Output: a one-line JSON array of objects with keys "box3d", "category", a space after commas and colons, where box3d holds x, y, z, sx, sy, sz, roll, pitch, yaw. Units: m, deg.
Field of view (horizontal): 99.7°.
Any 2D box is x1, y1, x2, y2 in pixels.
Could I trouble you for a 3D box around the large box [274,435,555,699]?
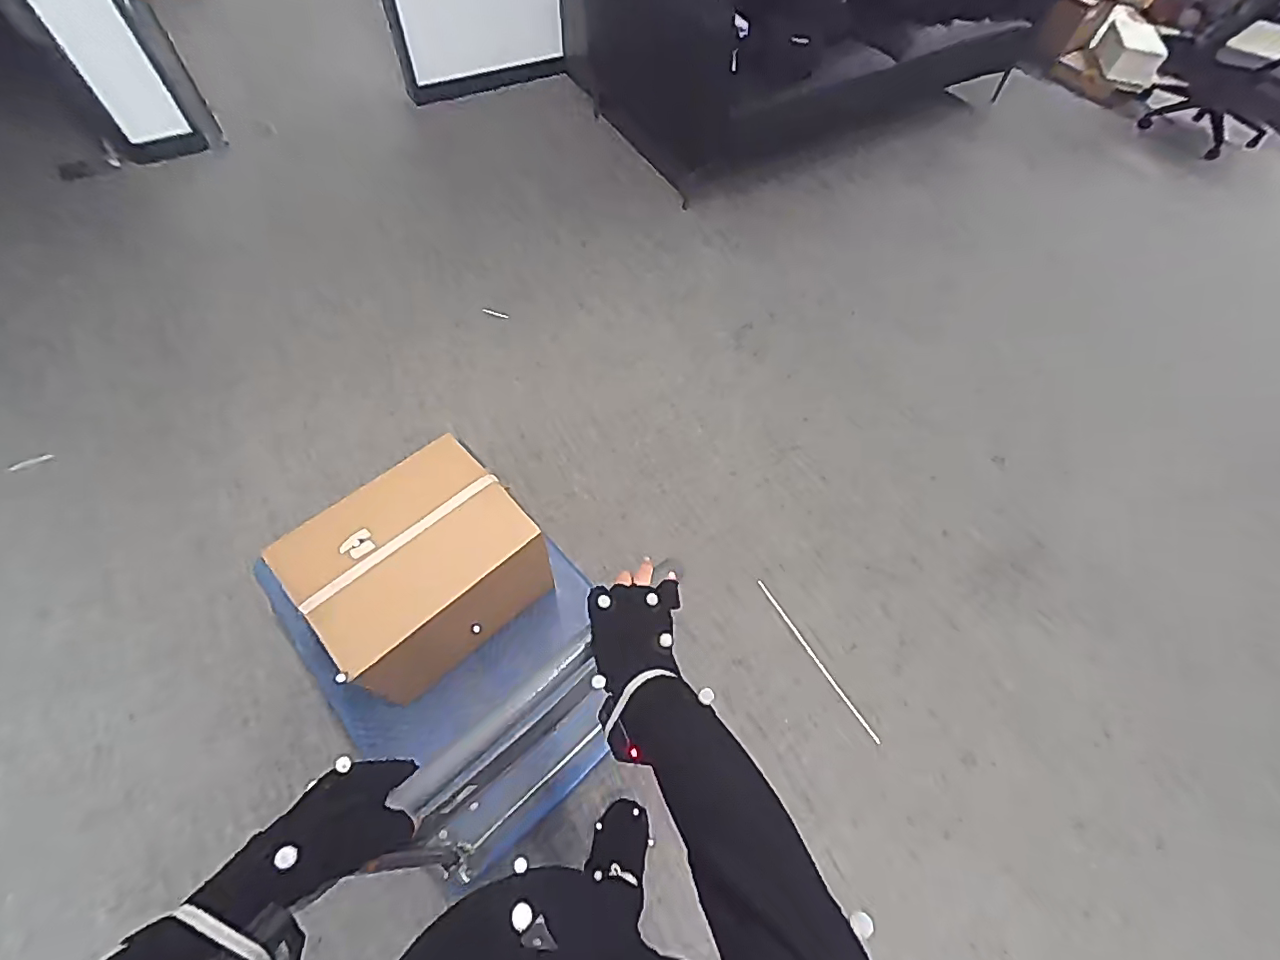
[{"box3d": [-0.437, 0.188, 1.147, 0.408, 0.320, 0.320, -40, 70, -22], "category": "large box"}]
